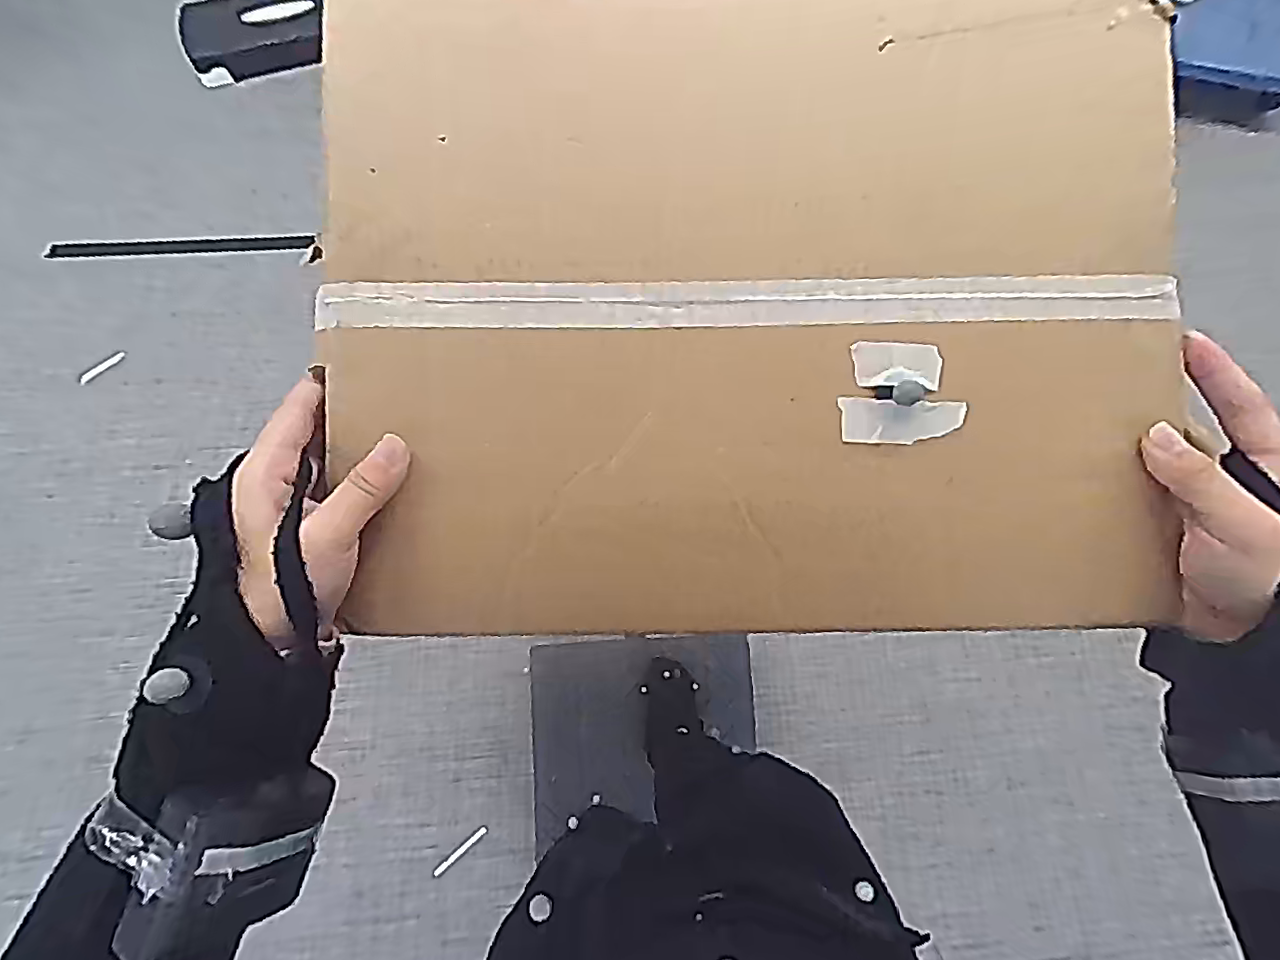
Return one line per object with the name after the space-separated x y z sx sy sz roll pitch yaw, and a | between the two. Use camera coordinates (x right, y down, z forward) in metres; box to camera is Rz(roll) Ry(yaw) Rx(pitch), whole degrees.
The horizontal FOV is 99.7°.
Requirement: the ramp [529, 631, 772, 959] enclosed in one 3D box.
0.026 0.843 1.152 0.509 0.206 0.991 -4 73 -4 | ramp

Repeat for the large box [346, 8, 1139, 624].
0.048 -0.084 0.422 0.408 0.320 0.320 -1 90 -1 | large box
